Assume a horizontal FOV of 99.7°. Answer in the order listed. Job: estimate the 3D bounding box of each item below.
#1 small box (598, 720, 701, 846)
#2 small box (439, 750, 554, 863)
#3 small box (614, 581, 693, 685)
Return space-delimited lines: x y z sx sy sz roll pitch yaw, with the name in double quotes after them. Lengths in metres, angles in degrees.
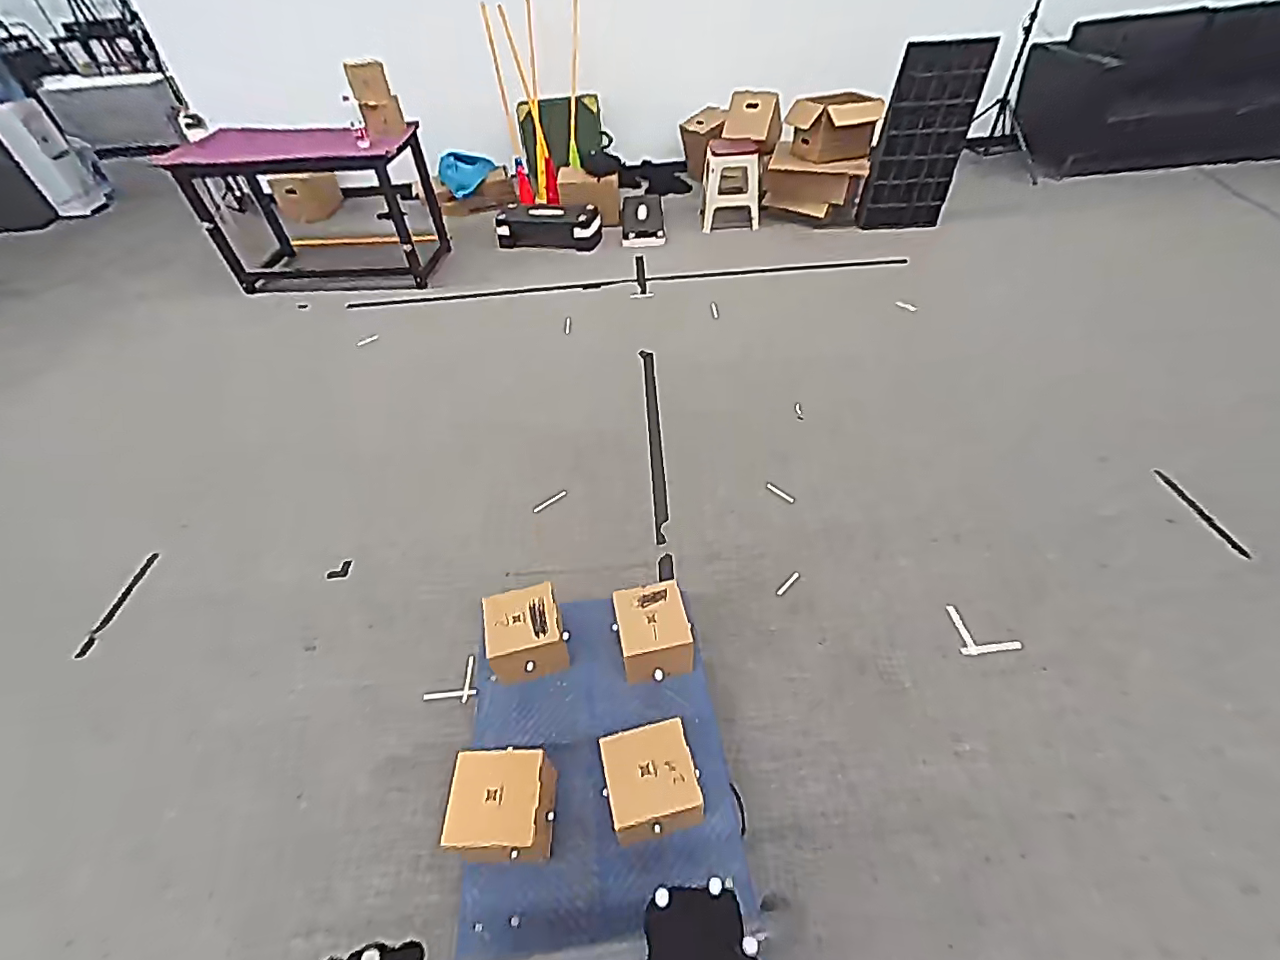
0.021 0.625 1.111 0.179 0.176 0.168 -12 47 -7 "small box"
-0.280 0.666 1.098 0.179 0.176 0.168 -2 46 1 "small box"
0.031 0.381 1.345 0.168 0.176 0.179 -10 47 -5 "small box"
